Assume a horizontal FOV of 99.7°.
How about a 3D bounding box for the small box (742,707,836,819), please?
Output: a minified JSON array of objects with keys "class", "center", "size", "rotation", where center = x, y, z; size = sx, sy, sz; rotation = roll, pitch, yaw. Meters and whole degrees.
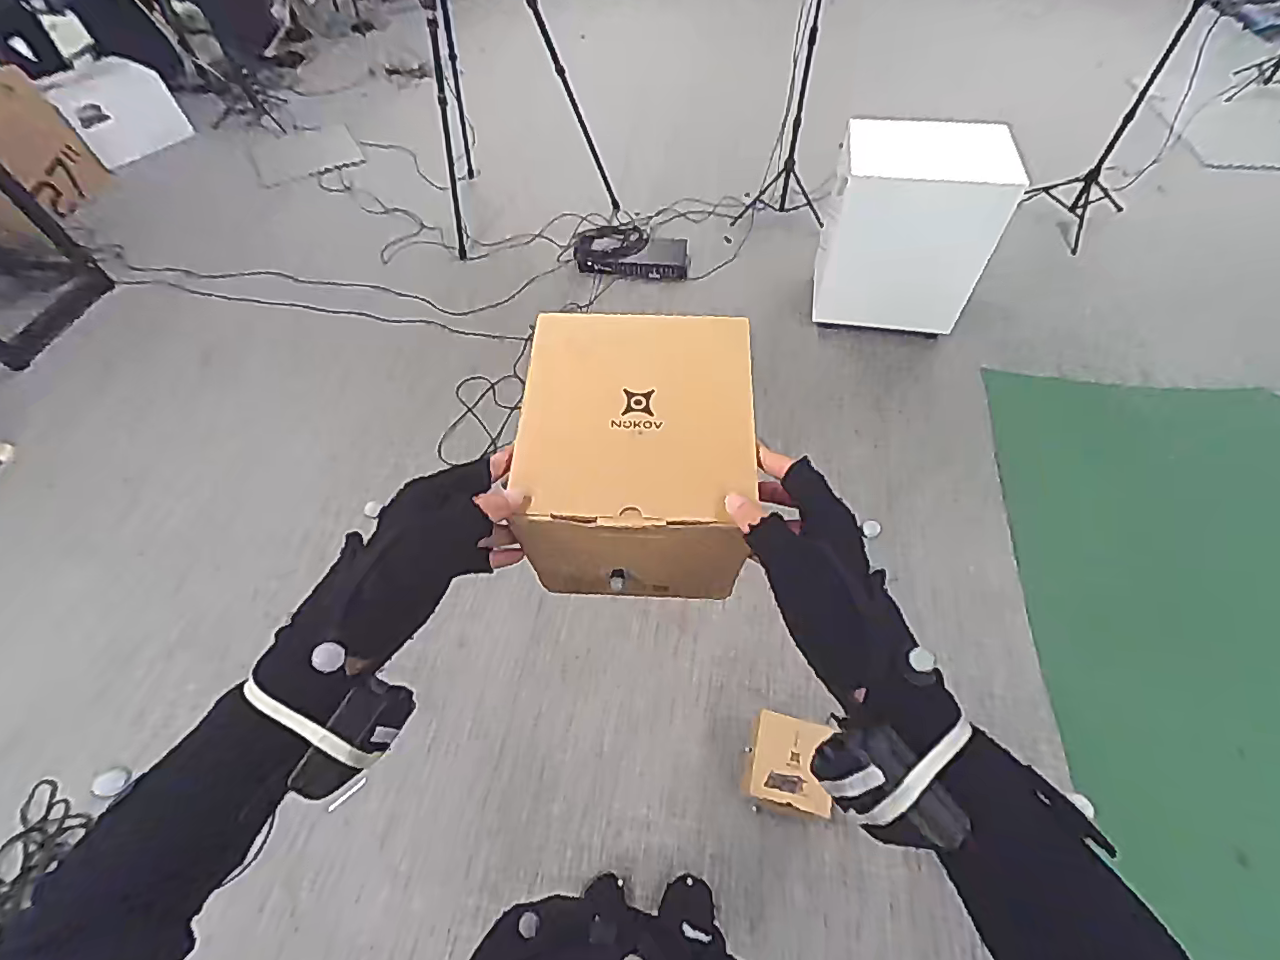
[{"class":"small box","center":[0.327,0.636,1.206],"size":[0.168,0.176,0.179],"rotation":[12,56,11]}]
